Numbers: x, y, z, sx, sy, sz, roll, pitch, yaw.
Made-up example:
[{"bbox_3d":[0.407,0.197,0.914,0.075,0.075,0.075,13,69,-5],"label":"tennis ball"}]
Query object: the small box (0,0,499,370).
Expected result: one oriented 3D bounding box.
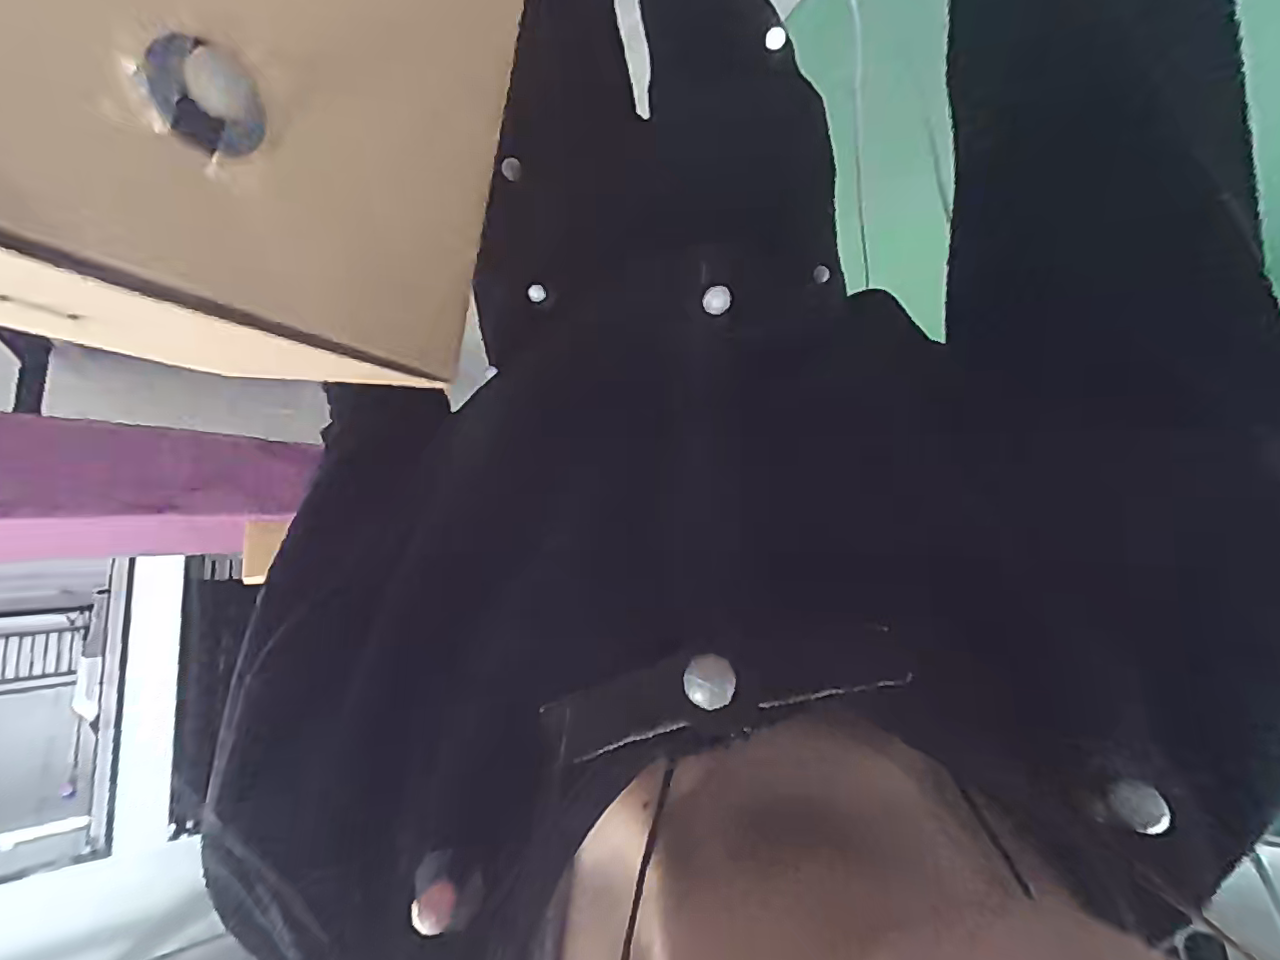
[{"bbox_3d":[-0.156,-0.137,0.139,0.168,0.176,0.179,8,177,30],"label":"small box"}]
